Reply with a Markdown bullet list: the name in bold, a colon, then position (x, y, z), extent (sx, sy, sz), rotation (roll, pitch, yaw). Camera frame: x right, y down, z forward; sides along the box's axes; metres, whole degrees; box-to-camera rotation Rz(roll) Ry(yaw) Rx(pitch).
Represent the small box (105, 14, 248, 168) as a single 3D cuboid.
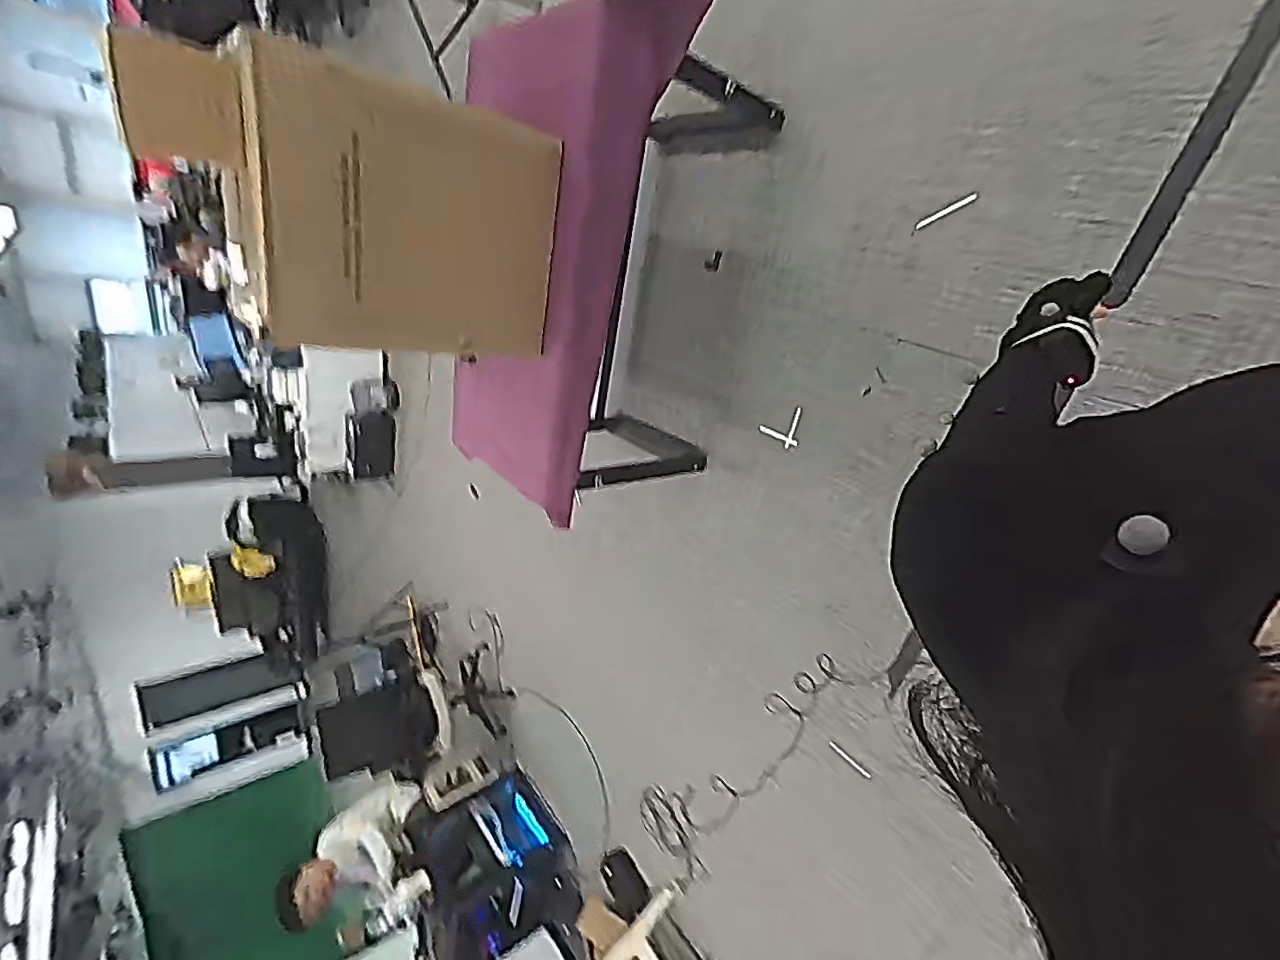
- **small box**: position (-0.823, -0.681, 0.967), extent (0.168, 0.176, 0.179), rotation (31, 119, 40)
